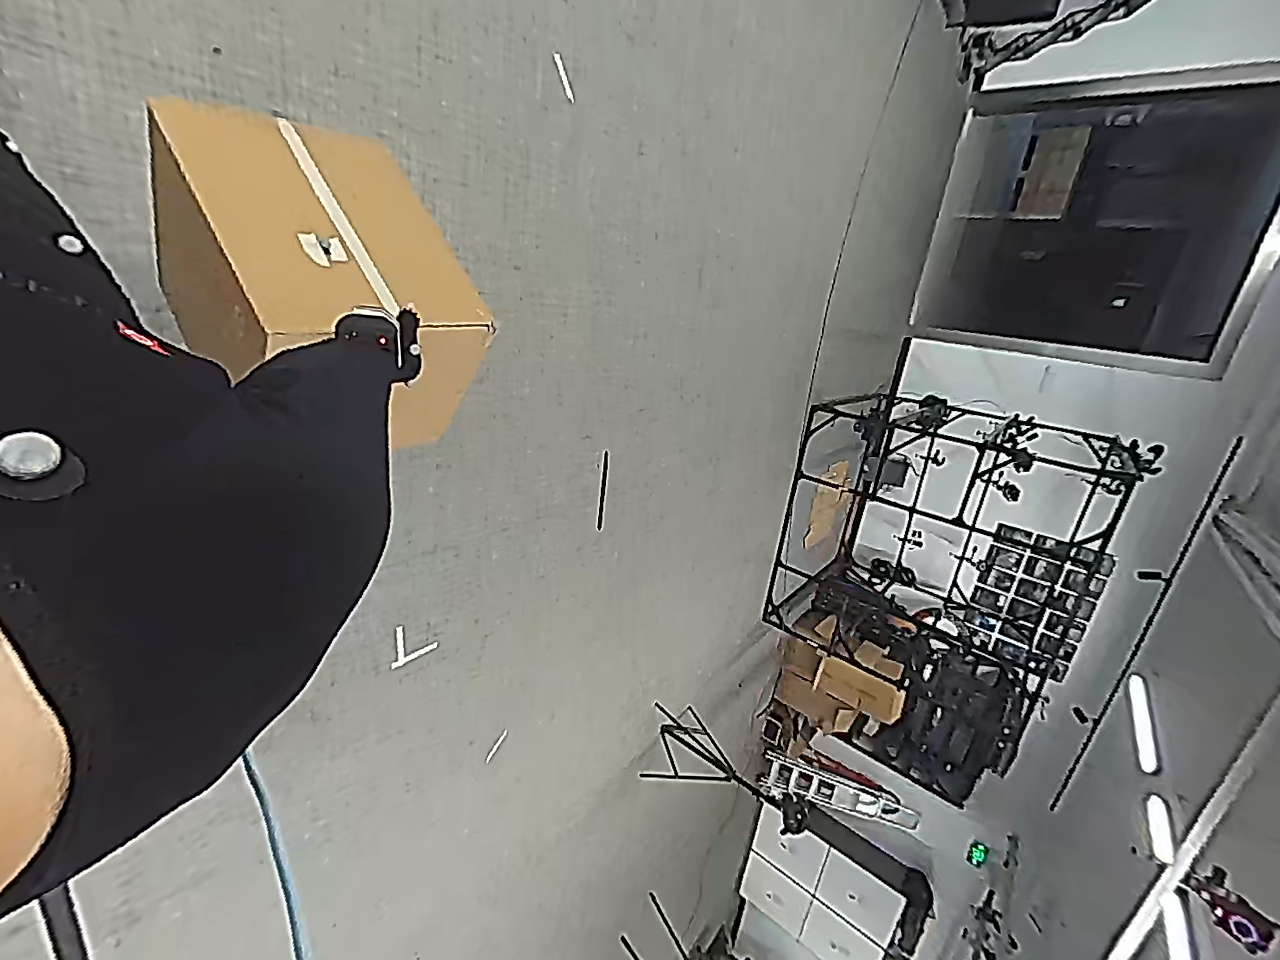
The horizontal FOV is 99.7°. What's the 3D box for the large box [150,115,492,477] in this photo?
[{"bbox_3d":[-0.520,-0.276,0.875,0.320,0.408,0.320,-22,163,-47],"label":"large box"}]
